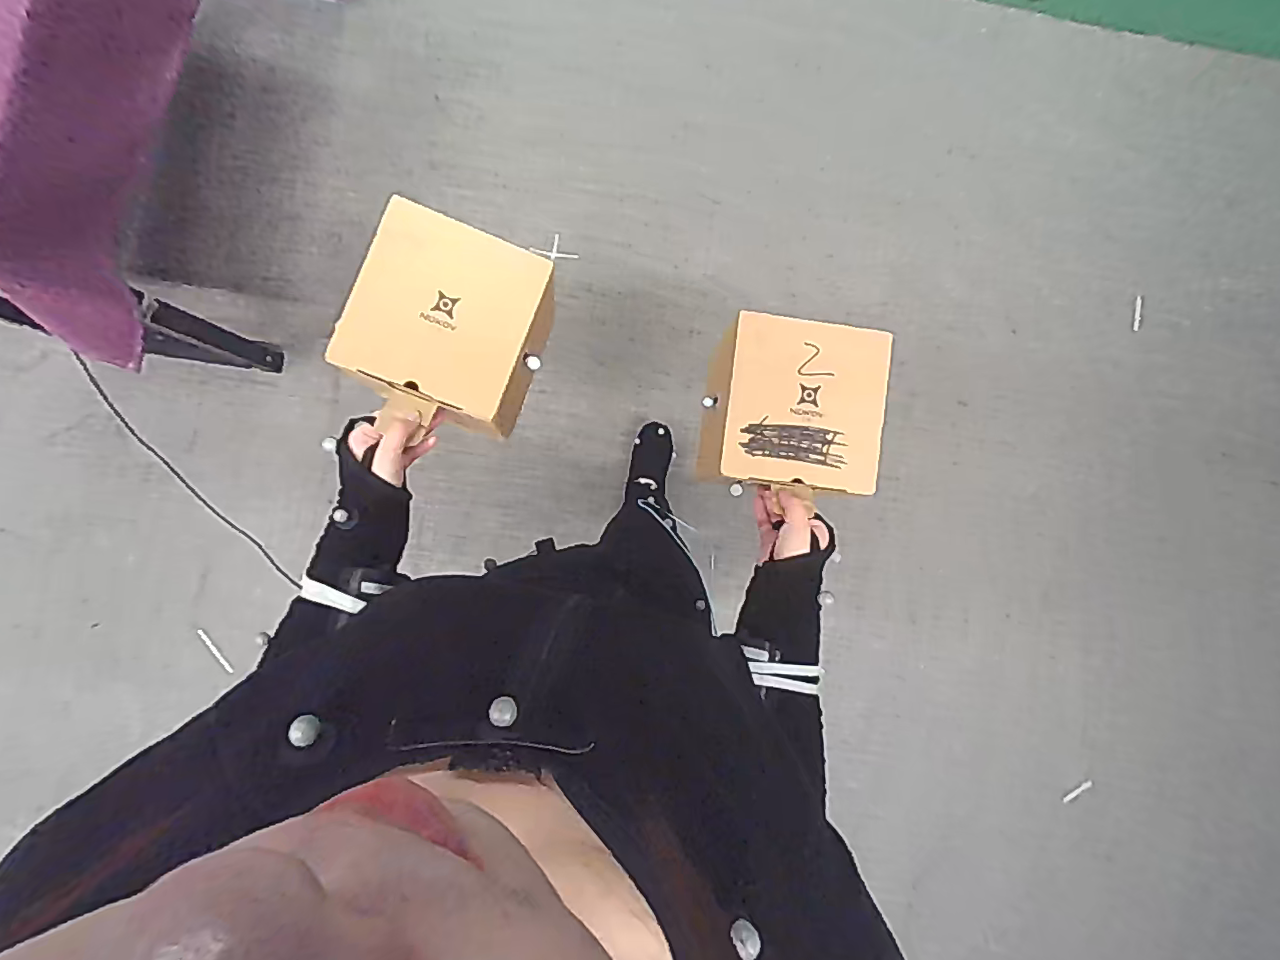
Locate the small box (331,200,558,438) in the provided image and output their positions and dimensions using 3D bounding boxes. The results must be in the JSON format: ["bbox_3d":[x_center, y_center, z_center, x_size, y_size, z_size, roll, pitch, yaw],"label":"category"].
[{"bbox_3d":[-0.201,-0.160,0.603,0.168,0.176,0.179,21,85,-8],"label":"small box"}]
